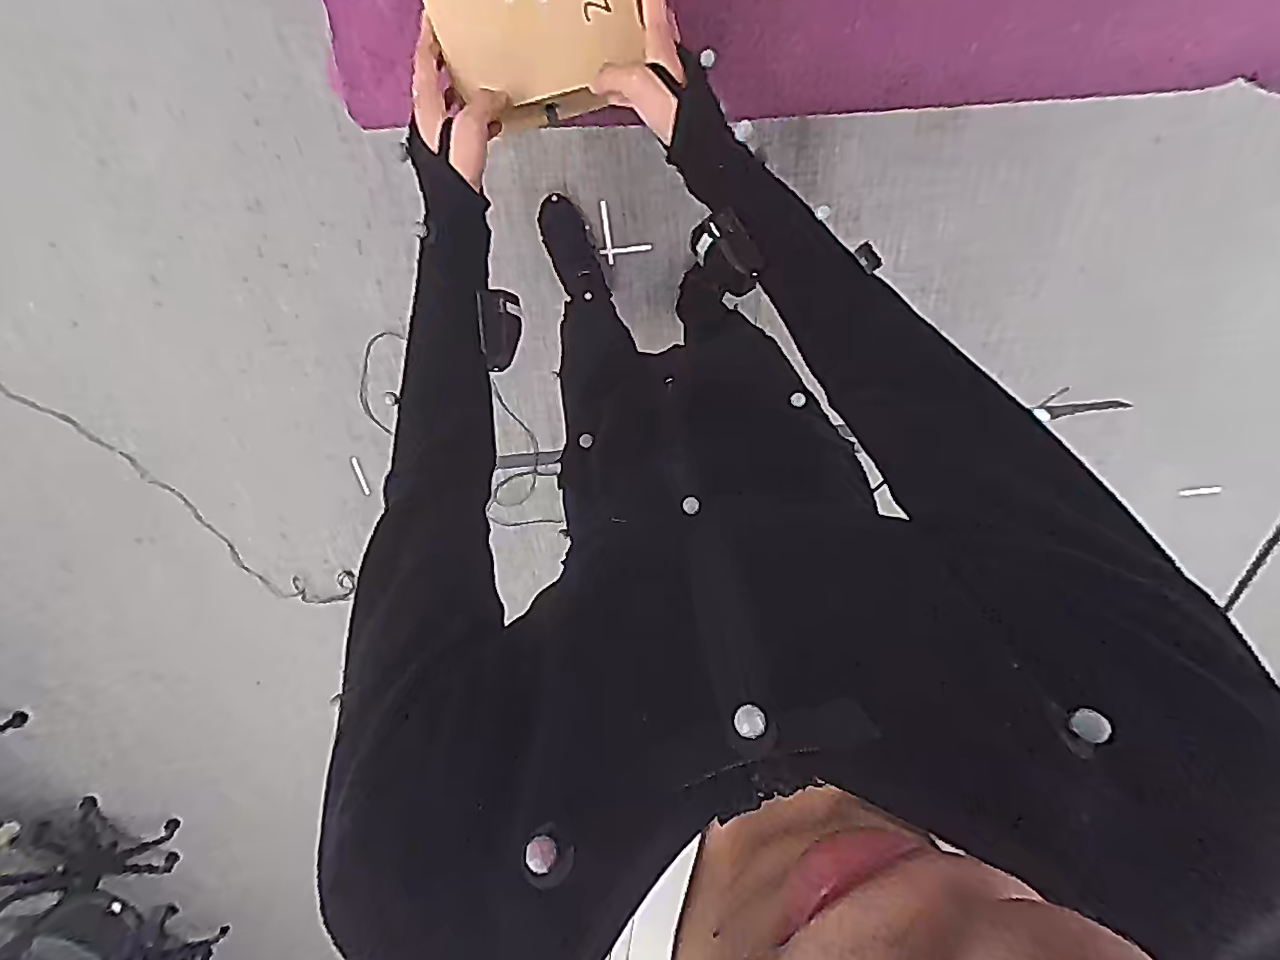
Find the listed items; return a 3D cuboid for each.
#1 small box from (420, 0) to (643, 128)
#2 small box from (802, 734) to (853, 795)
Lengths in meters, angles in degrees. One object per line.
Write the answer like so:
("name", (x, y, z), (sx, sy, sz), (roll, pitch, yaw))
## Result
("small box", (-0.101, -0.450, 0.509), (0.179, 0.176, 0.168), (-13, 119, 2))
("small box", (0.820, 1.249, 2.377), (0.168, 0.176, 0.179), (-10, 122, 1))
